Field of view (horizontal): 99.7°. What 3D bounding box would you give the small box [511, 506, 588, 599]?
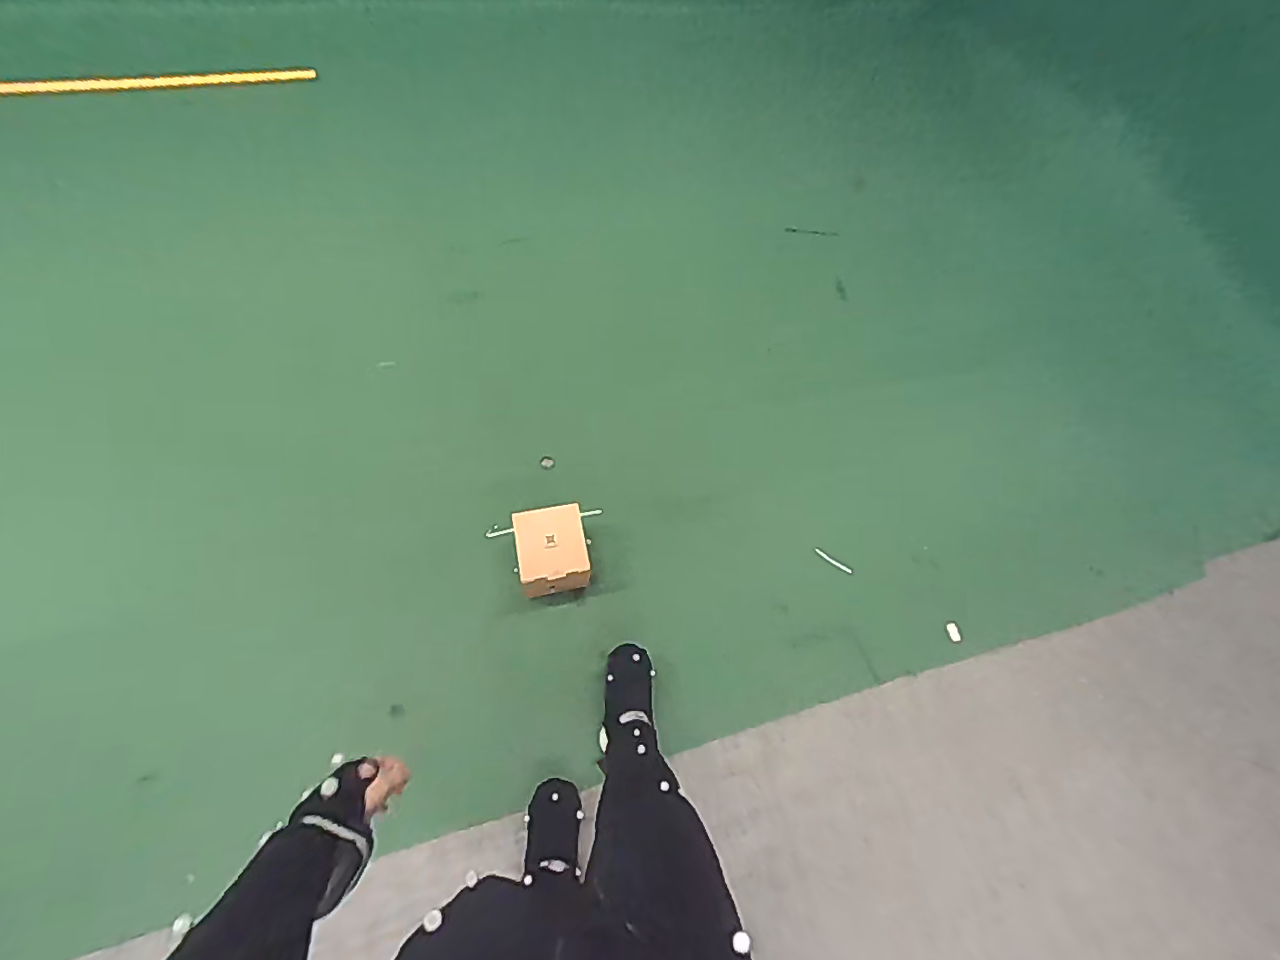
[{"bbox_3d":[-0.232,0.187,1.374,0.168,0.176,0.179,-9,68,-12],"label":"small box"}]
